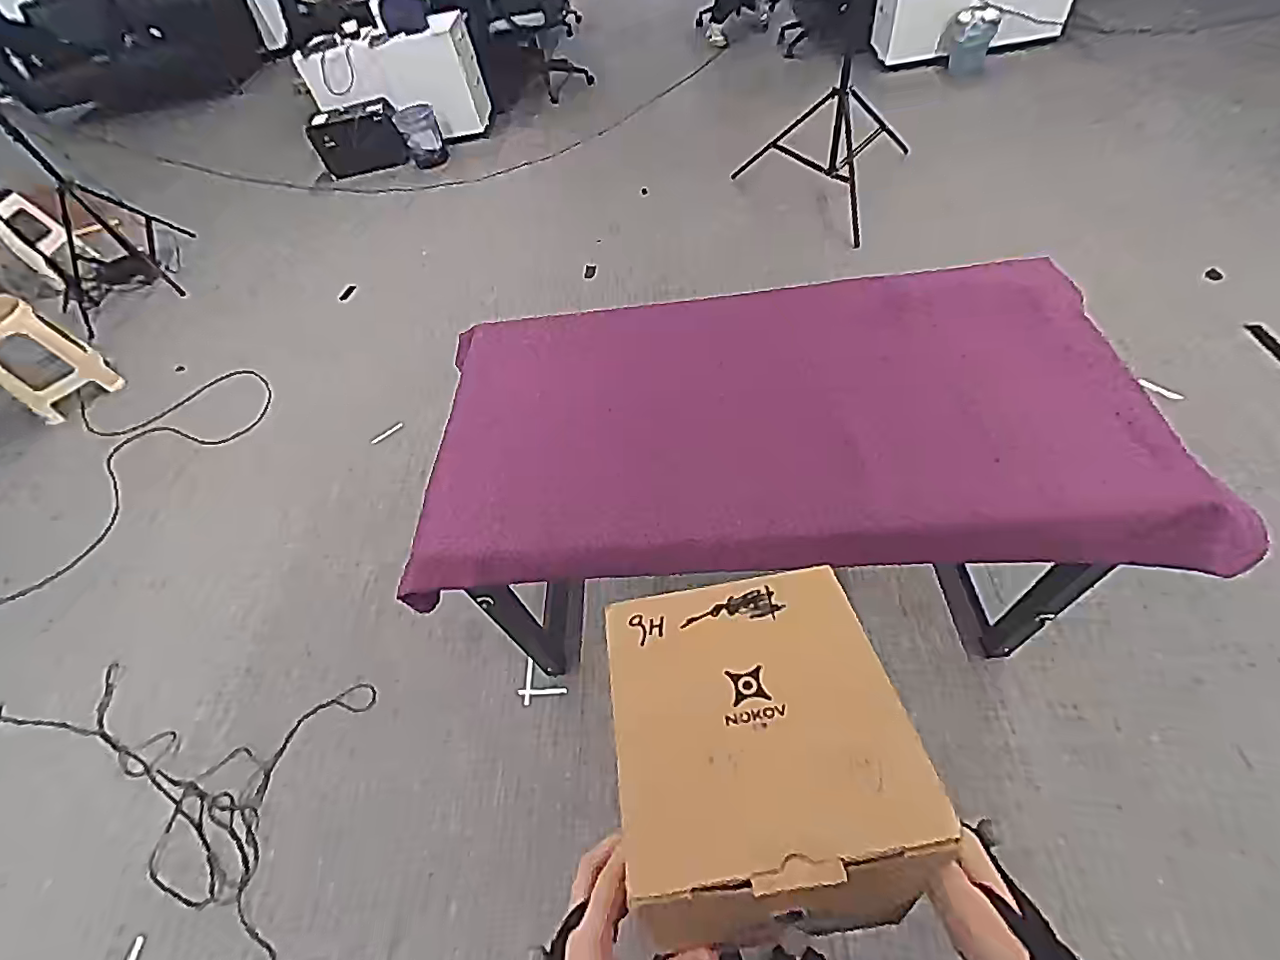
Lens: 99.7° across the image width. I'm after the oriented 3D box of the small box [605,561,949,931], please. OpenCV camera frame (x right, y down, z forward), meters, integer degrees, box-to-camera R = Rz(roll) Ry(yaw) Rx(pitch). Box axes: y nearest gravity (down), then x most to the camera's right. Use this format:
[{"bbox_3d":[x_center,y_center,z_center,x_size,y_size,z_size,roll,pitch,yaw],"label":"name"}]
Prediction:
[{"bbox_3d":[0.074,0.187,0.376,0.168,0.176,0.179,-10,42,0],"label":"small box"}]
